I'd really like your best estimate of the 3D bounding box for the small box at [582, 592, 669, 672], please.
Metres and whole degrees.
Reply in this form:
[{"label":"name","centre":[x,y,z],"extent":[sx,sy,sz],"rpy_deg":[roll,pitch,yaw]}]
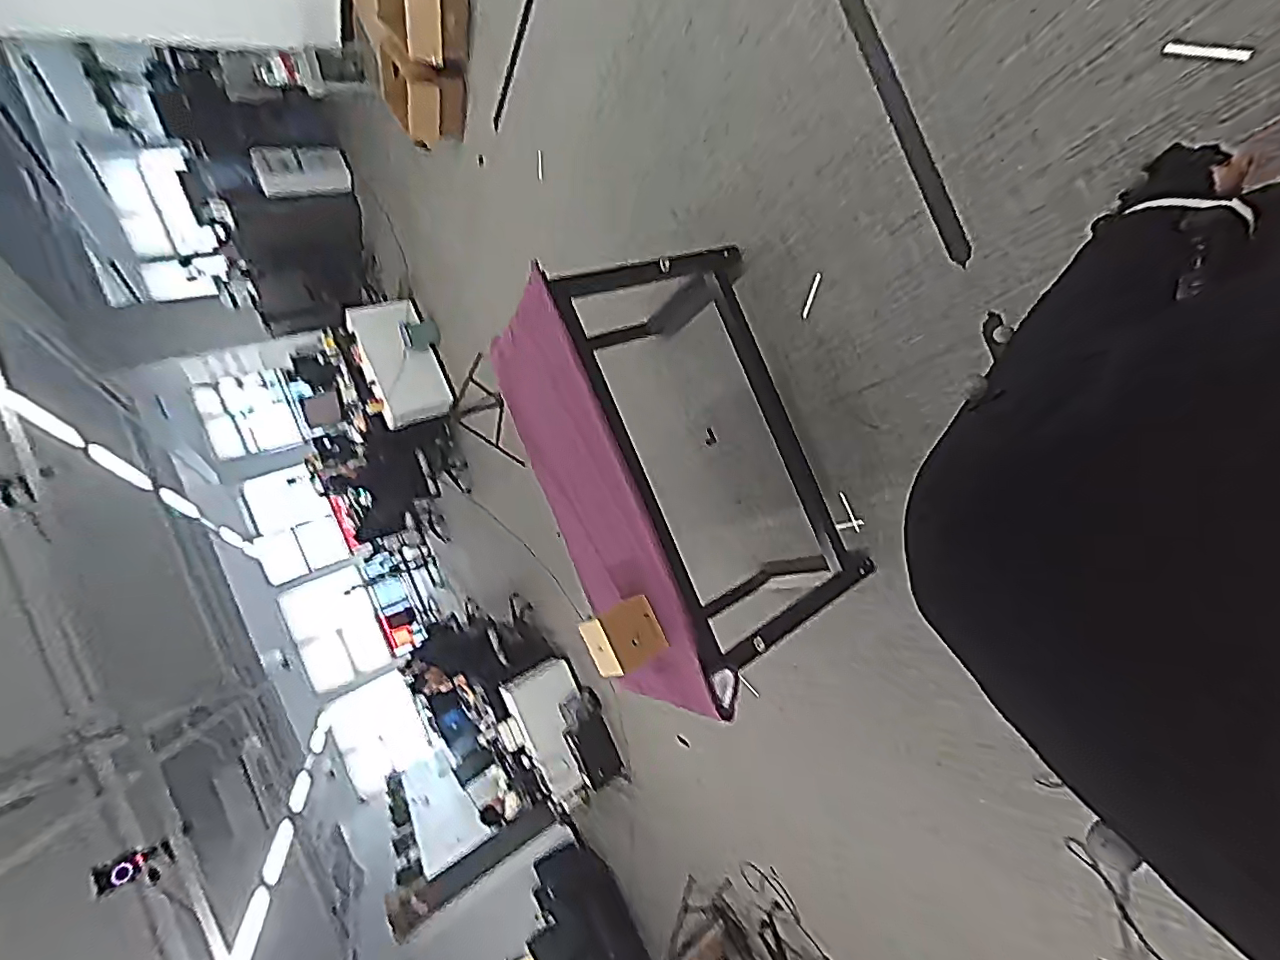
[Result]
[{"label":"small box","centre":[-0.038,0.442,1.575],"extent":[0.168,0.176,0.179],"rpy_deg":[63,150,8]}]
